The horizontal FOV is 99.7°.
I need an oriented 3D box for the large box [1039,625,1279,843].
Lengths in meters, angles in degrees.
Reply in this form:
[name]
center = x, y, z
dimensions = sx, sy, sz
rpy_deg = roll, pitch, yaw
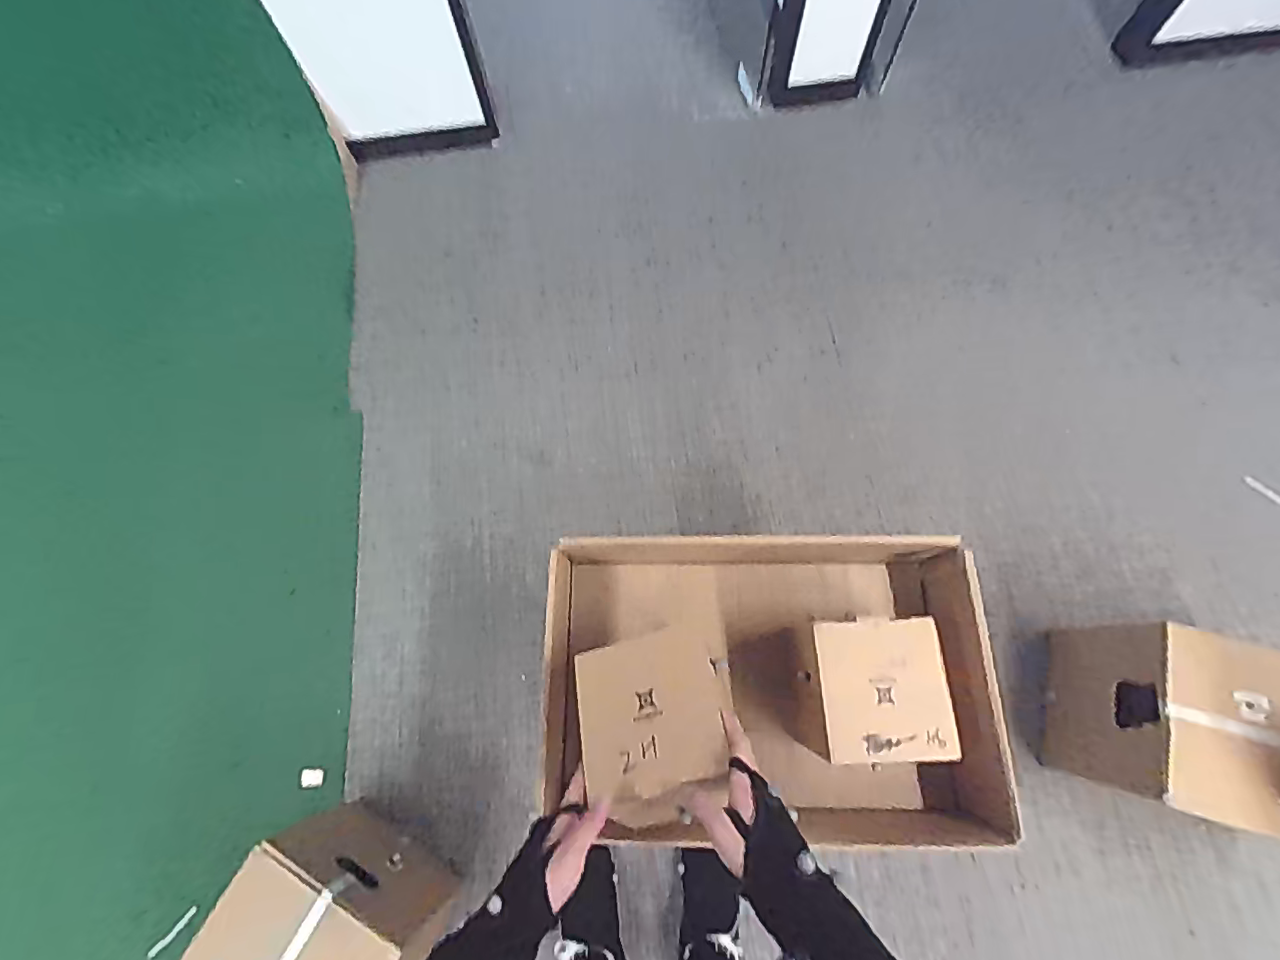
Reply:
[large box]
center = 1.101, 0.496, 1.062
dimensions = 0.408, 0.320, 0.320
rpy_deg = 15, 72, 7

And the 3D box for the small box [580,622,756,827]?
[small box]
center = 0.036, 0.309, 0.676
dimensions = 0.168, 0.176, 0.179
rpy_deg = -18, 49, 6
